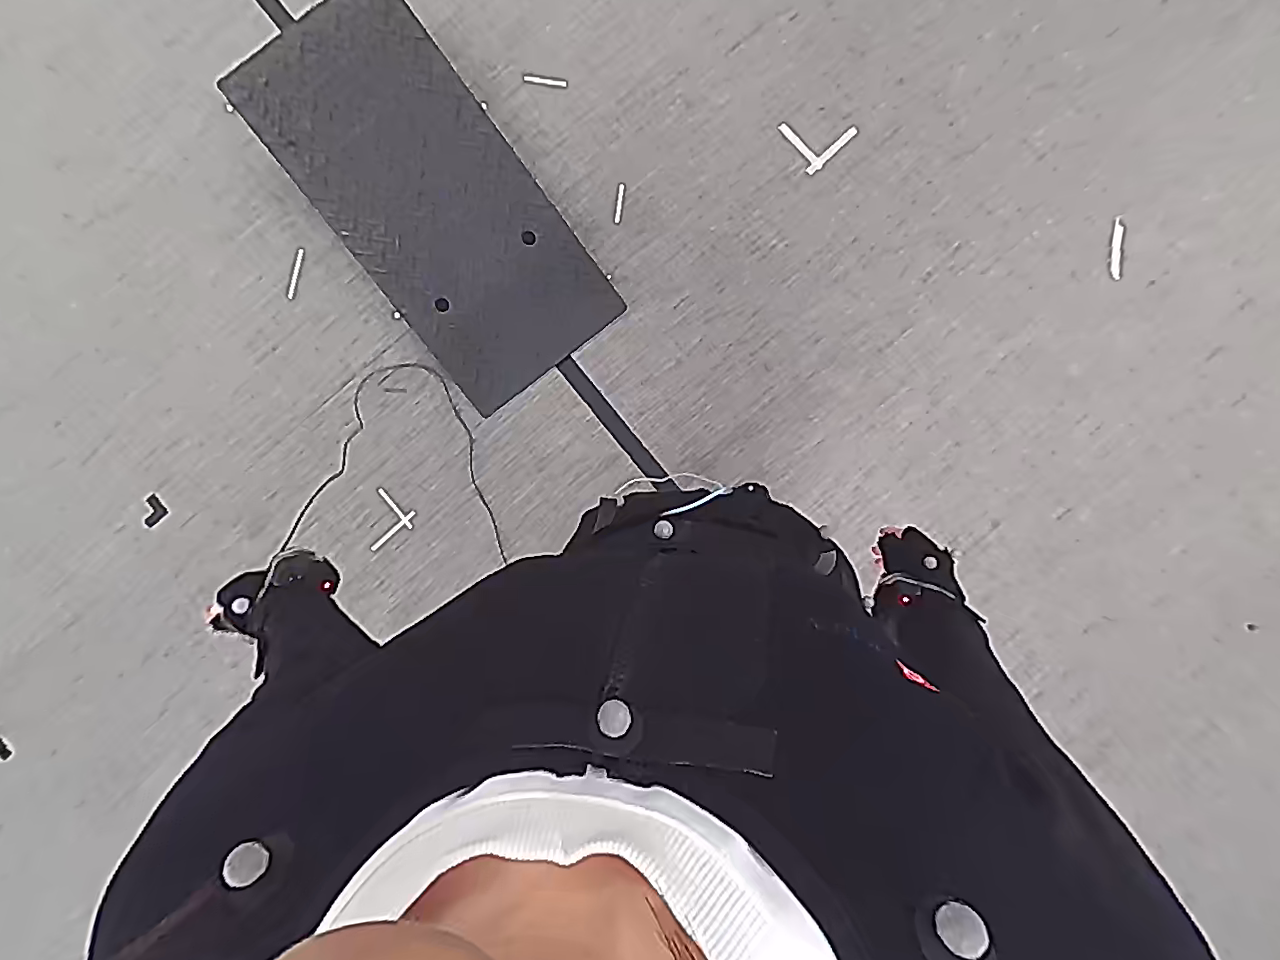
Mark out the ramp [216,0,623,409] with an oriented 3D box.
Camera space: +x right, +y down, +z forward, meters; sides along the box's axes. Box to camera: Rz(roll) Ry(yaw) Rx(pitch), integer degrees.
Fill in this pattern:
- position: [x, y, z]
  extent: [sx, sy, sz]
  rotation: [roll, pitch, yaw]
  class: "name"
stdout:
- position: [-0.527, -0.721, 1.374]
  extent: [0.509, 0.206, 0.991]
  rotation: [-39, 89, 0]
  class: "ramp"
